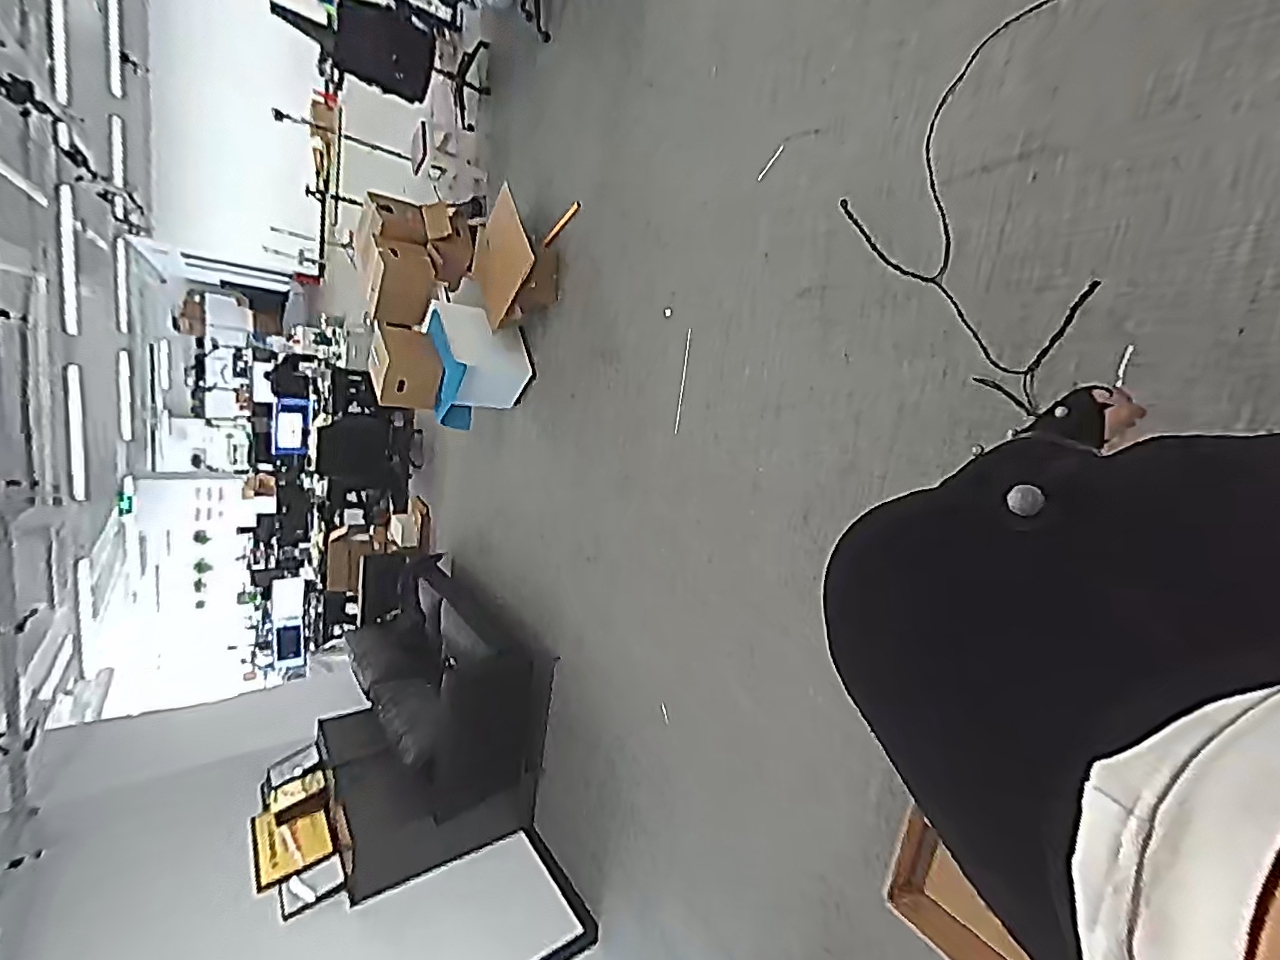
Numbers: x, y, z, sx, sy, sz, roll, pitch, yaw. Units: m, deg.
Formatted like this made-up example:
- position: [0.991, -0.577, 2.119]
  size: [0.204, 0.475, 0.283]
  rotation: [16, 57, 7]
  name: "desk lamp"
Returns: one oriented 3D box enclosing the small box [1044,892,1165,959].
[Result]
- position: [1.035, 1.086, 1.211]
  size: [0.168, 0.176, 0.179]
  rotation: [23, 108, 50]
  name: "small box"
